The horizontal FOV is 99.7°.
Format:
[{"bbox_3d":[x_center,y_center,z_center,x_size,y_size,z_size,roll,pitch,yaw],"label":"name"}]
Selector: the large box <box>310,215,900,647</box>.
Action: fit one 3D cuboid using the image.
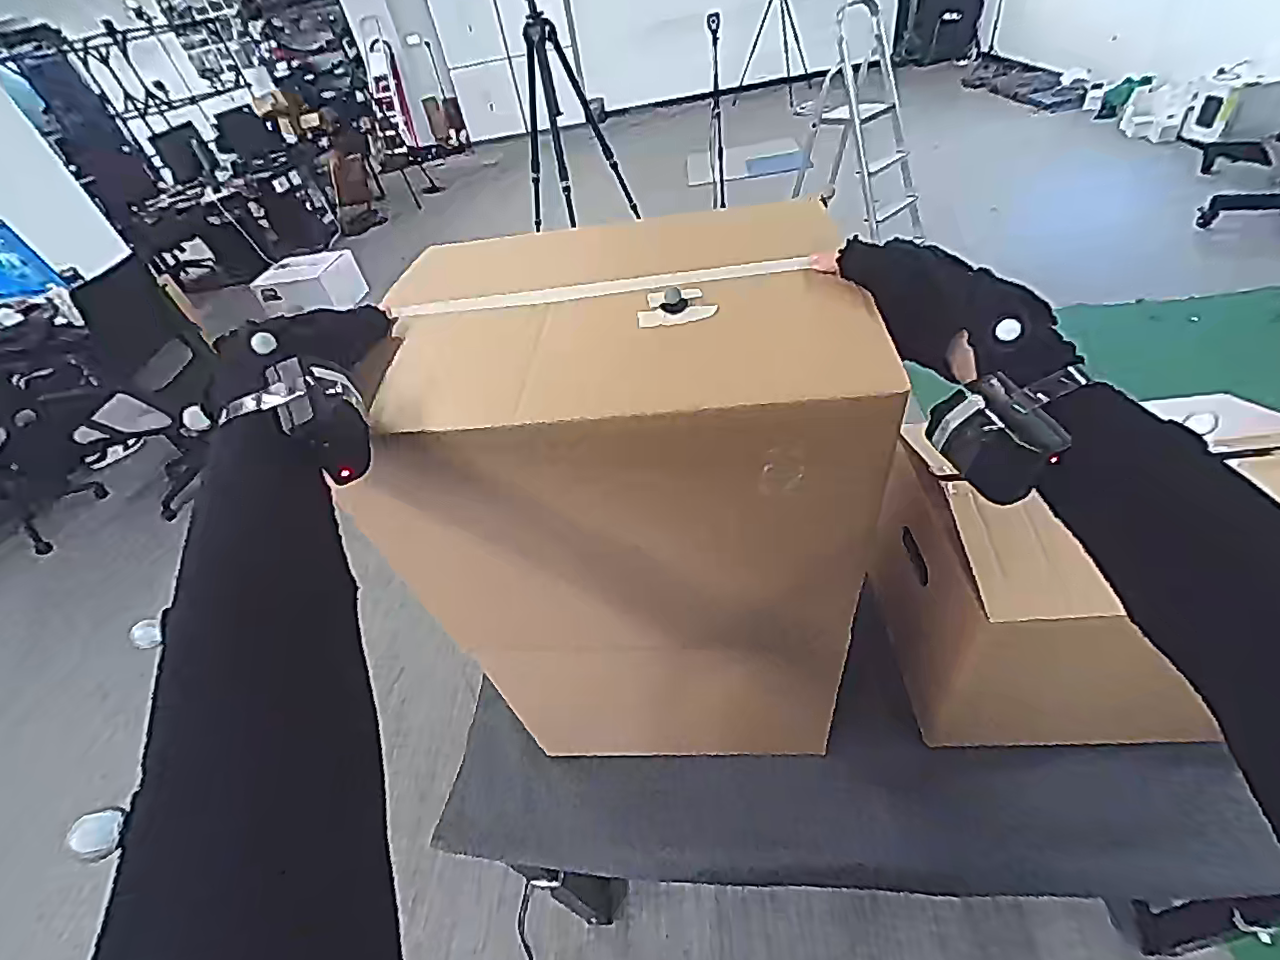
[{"bbox_3d":[-0.012,-0.041,0.561,0.408,0.320,0.320,-3,47,7],"label":"large box"}]
